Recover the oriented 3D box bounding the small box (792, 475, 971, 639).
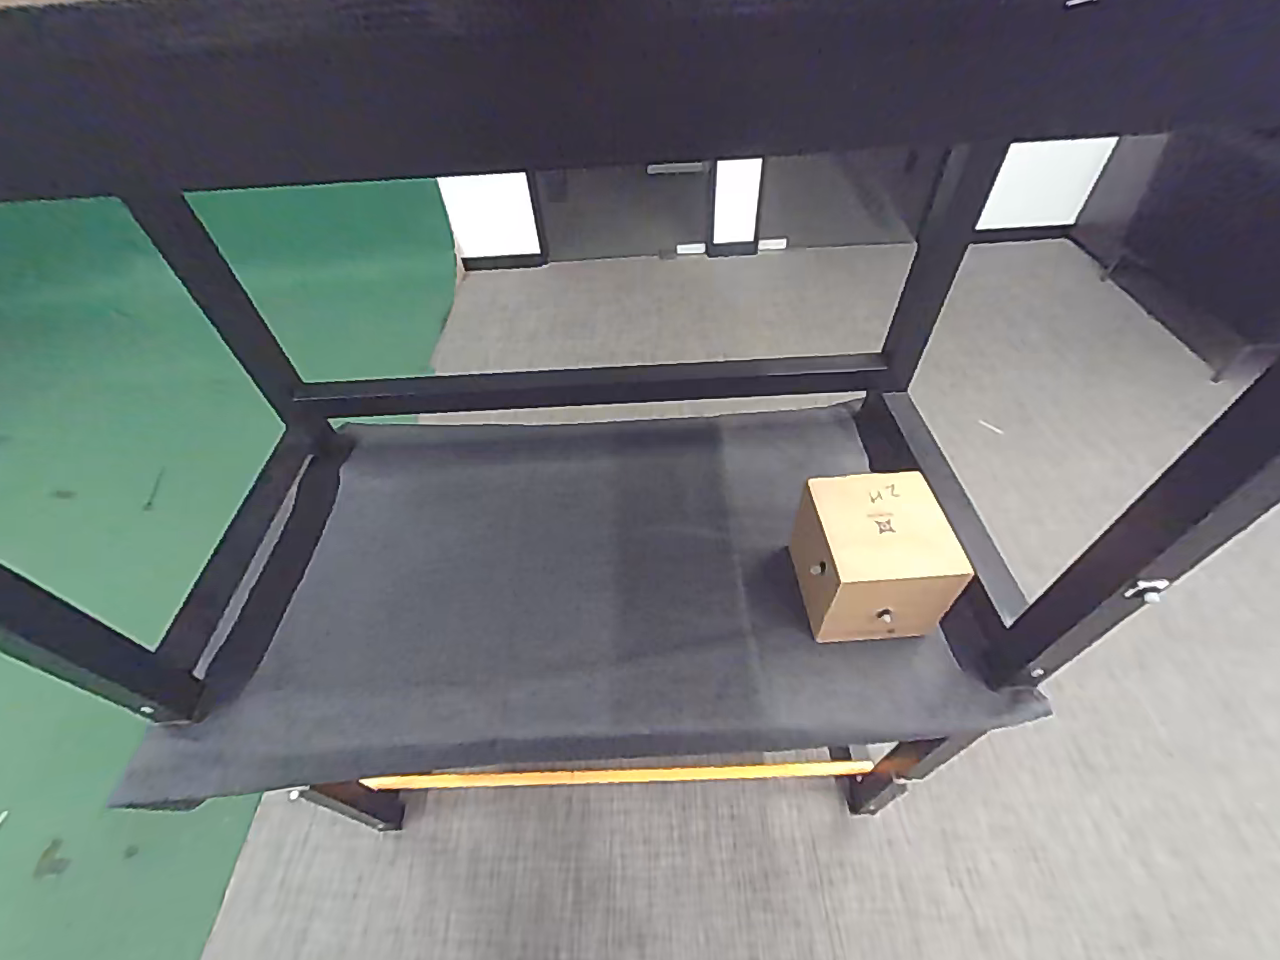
[{"bbox_3d":[0.329,0.117,0.779,0.168,0.176,0.179,-4,47,0],"label":"small box"}]
